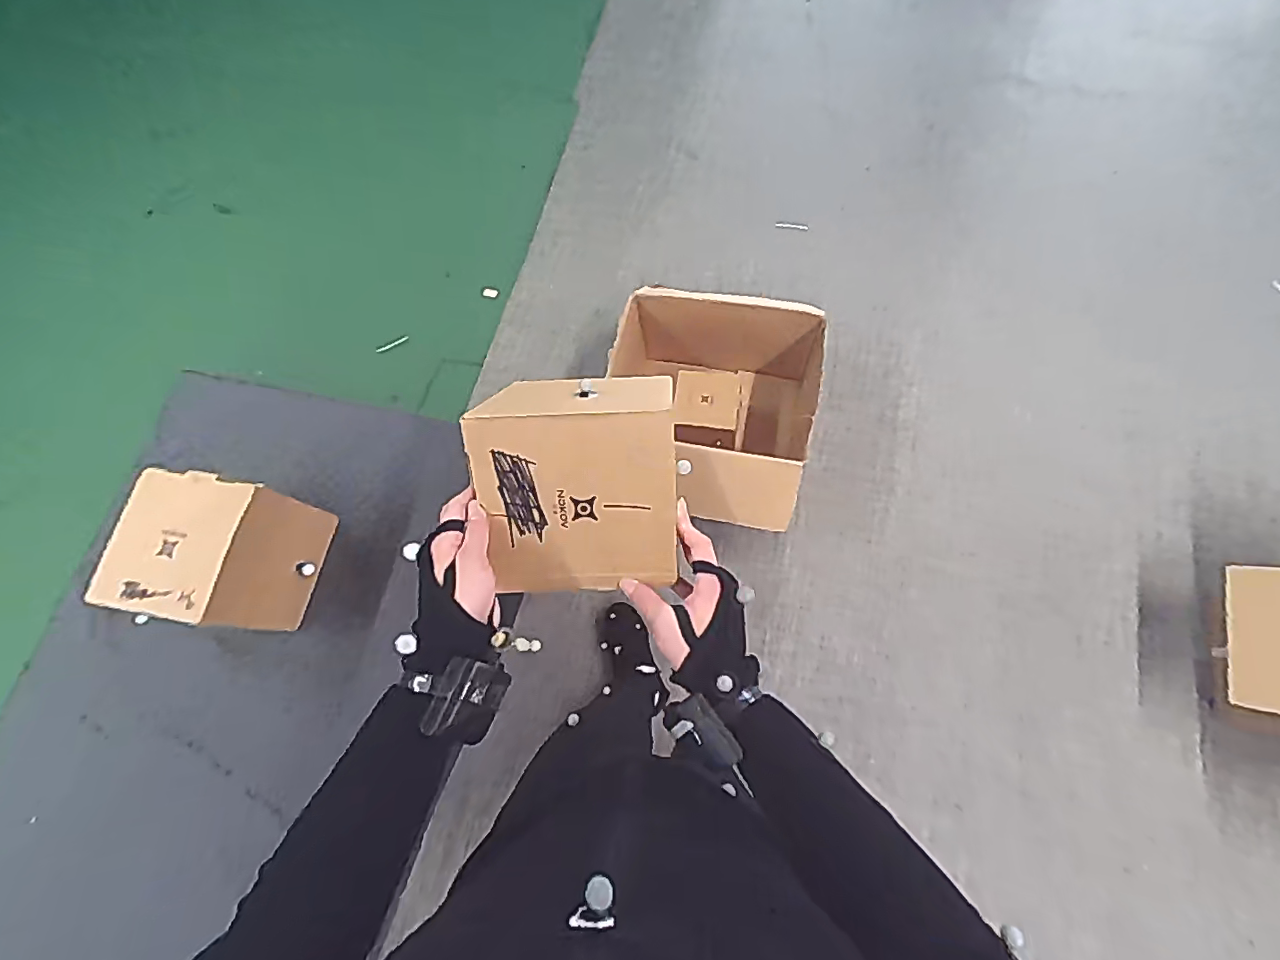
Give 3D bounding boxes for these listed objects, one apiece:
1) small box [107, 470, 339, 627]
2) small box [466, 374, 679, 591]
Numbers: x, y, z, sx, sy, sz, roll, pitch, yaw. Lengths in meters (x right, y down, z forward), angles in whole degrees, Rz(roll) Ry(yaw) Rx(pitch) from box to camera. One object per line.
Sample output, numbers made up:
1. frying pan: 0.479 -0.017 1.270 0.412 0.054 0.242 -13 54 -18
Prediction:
1. small box: -0.561 0.103 0.759 0.168 0.176 0.179 6 72 7
2. small box: -0.052 -0.008 0.539 0.179 0.176 0.168 1 112 3
